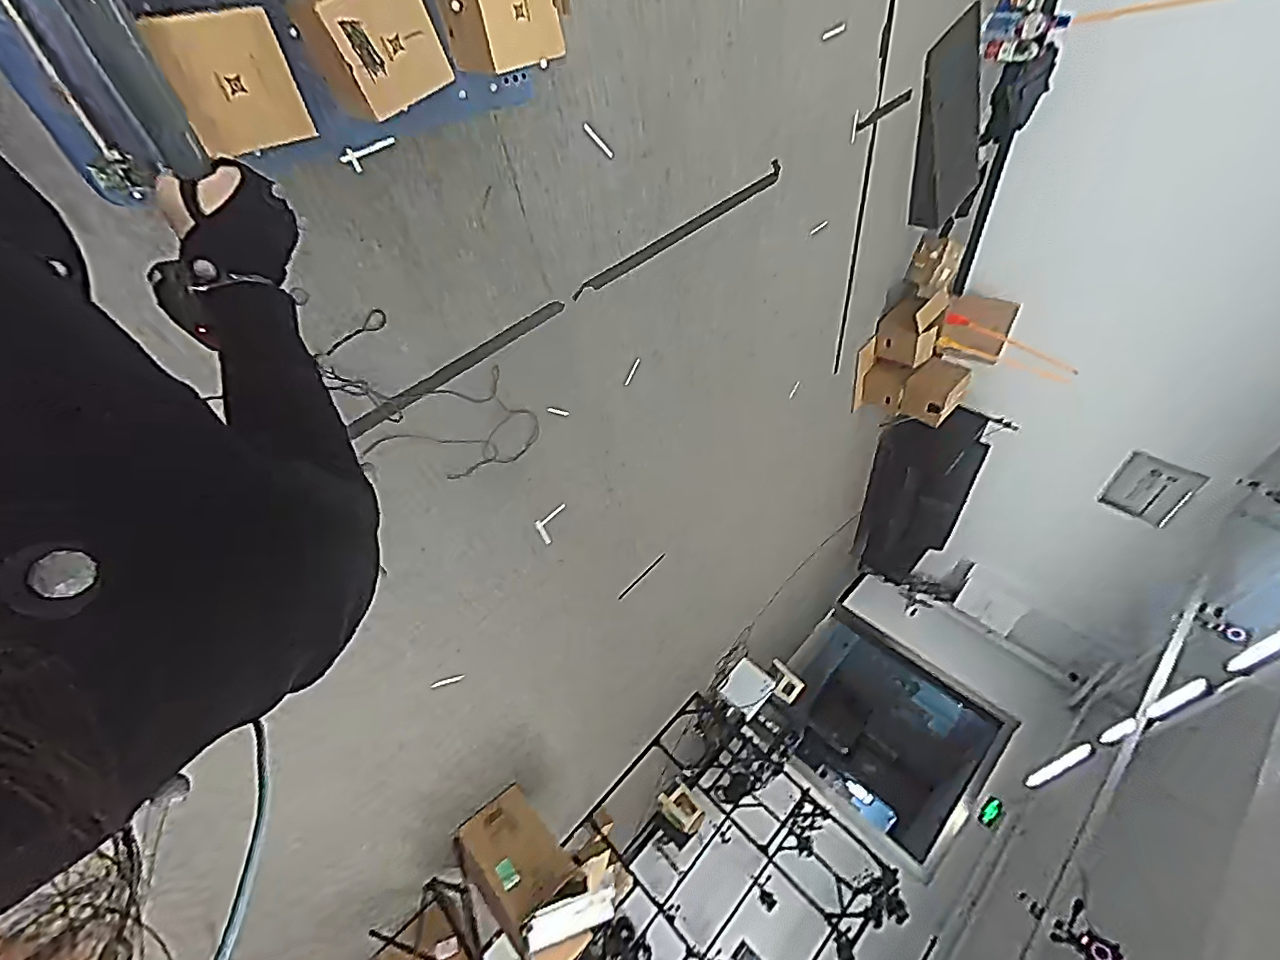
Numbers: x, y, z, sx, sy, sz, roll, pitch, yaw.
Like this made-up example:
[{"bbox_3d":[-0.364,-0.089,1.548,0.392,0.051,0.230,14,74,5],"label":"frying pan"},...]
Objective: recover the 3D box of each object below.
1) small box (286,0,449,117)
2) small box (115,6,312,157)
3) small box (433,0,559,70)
[{"bbox_3d":[-0.483,-0.772,0.953,0.179,0.176,0.168,-45,146,-18],"label":"small box"},{"bbox_3d":[-0.665,-0.624,0.845,0.179,0.176,0.168,-37,143,-28],"label":"small box"},{"bbox_3d":[-0.292,-0.930,1.066,0.179,0.176,0.168,-39,143,-25],"label":"small box"}]
